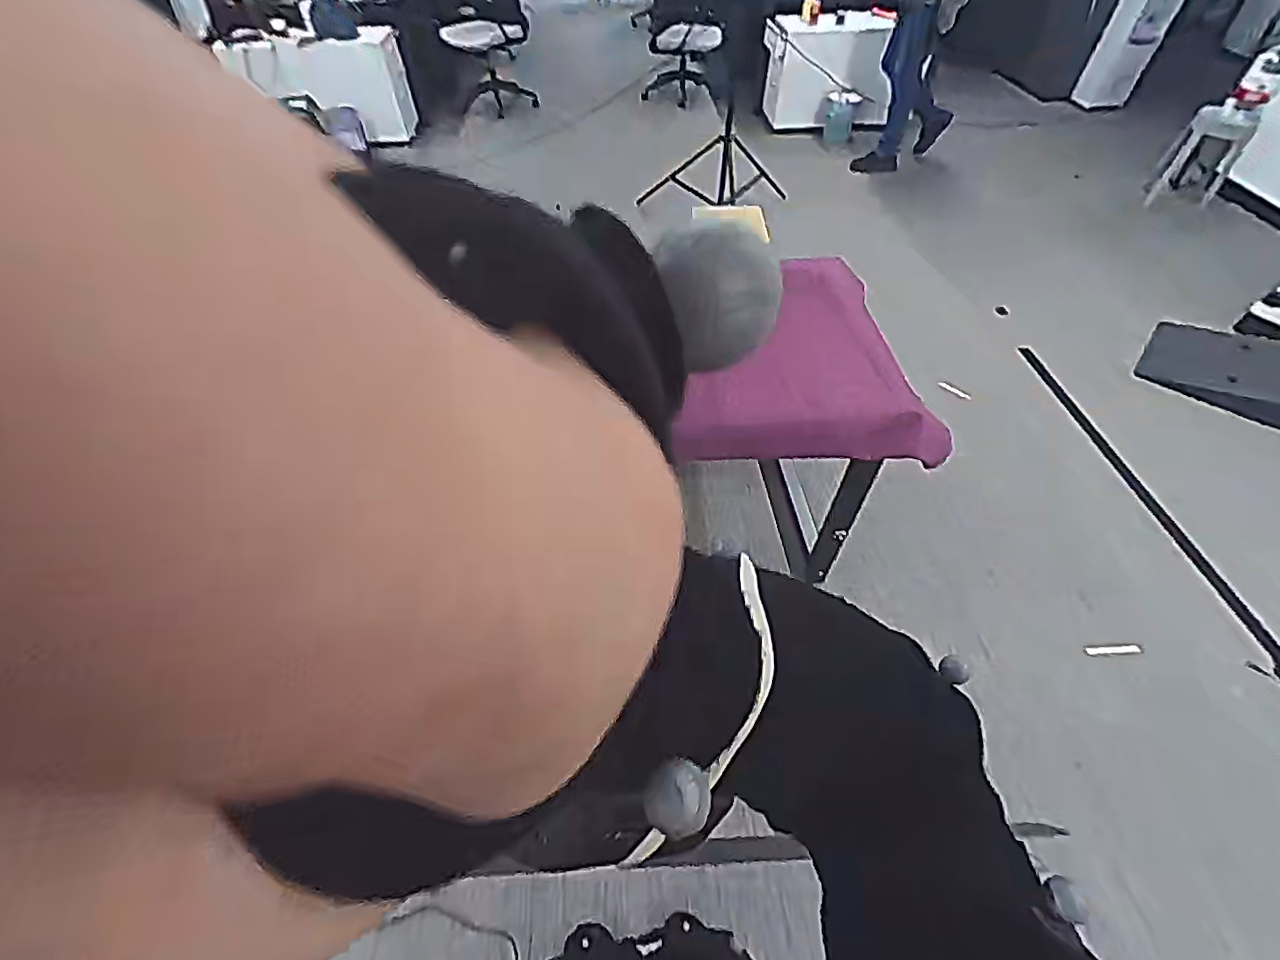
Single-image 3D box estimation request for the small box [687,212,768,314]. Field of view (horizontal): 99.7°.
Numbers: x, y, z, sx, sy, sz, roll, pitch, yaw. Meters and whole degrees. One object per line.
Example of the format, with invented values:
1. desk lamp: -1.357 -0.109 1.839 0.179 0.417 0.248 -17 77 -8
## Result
1. small box: 0.202 -0.522 1.301 0.168 0.176 0.179 -1 53 2
